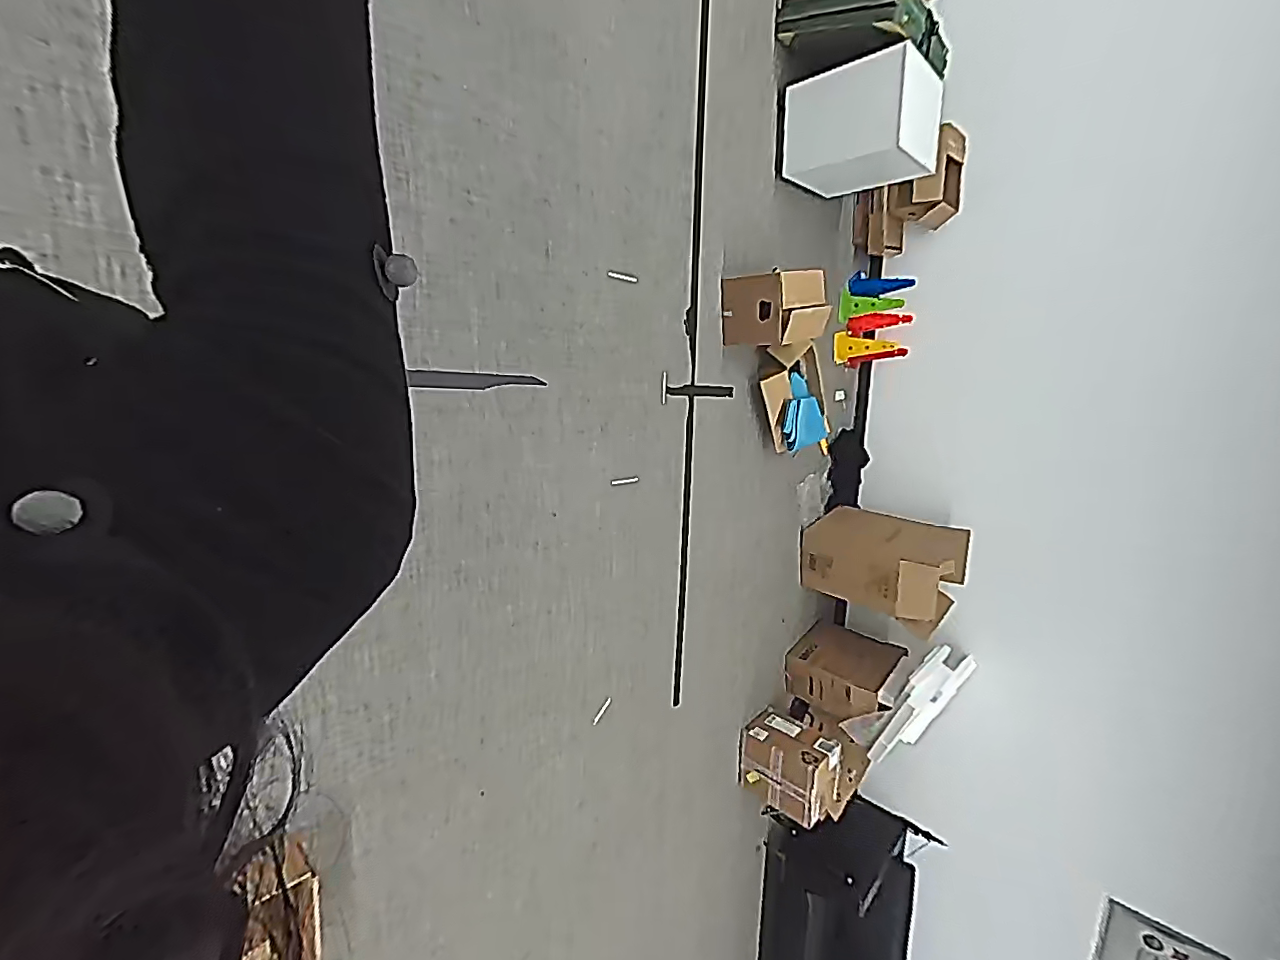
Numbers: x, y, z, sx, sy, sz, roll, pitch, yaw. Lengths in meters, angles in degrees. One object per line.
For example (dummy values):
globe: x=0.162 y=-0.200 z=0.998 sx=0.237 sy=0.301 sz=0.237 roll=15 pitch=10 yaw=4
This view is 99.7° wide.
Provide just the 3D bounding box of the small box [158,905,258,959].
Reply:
small box: x=-1.012 y=1.172 z=1.275 sx=0.168 sy=0.176 sz=0.179 roll=-10 pitch=106 yaw=-46
